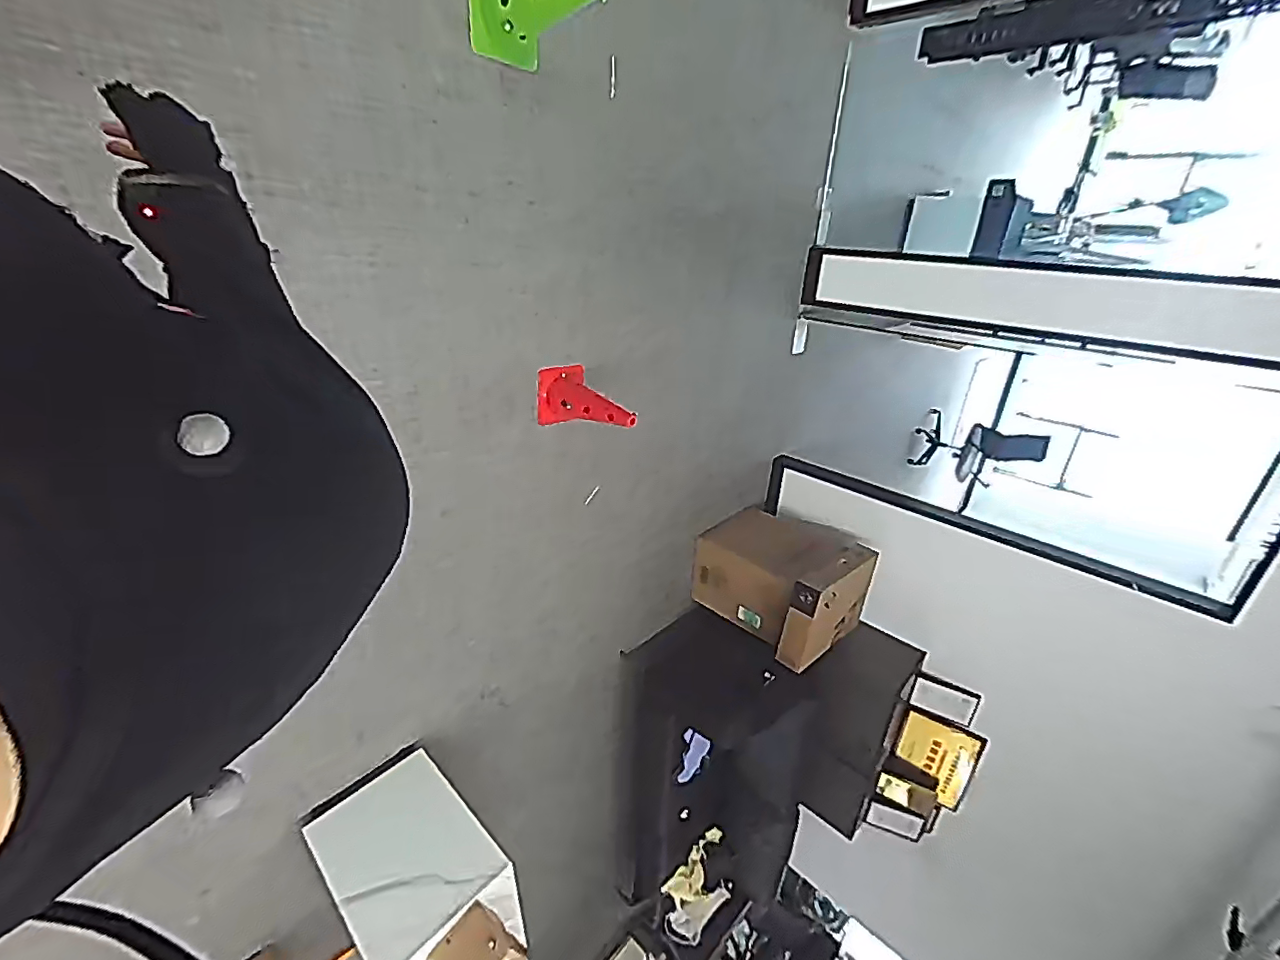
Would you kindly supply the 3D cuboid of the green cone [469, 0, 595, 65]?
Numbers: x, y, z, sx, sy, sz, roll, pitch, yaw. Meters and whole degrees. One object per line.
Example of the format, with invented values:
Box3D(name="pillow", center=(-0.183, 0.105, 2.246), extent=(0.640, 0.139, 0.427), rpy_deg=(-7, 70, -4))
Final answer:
Box3D(name="green cone", center=(-0.214, -1.115, 1.245), extent=(0.200, 0.368, 0.202), rpy_deg=(-22, 126, -43))
